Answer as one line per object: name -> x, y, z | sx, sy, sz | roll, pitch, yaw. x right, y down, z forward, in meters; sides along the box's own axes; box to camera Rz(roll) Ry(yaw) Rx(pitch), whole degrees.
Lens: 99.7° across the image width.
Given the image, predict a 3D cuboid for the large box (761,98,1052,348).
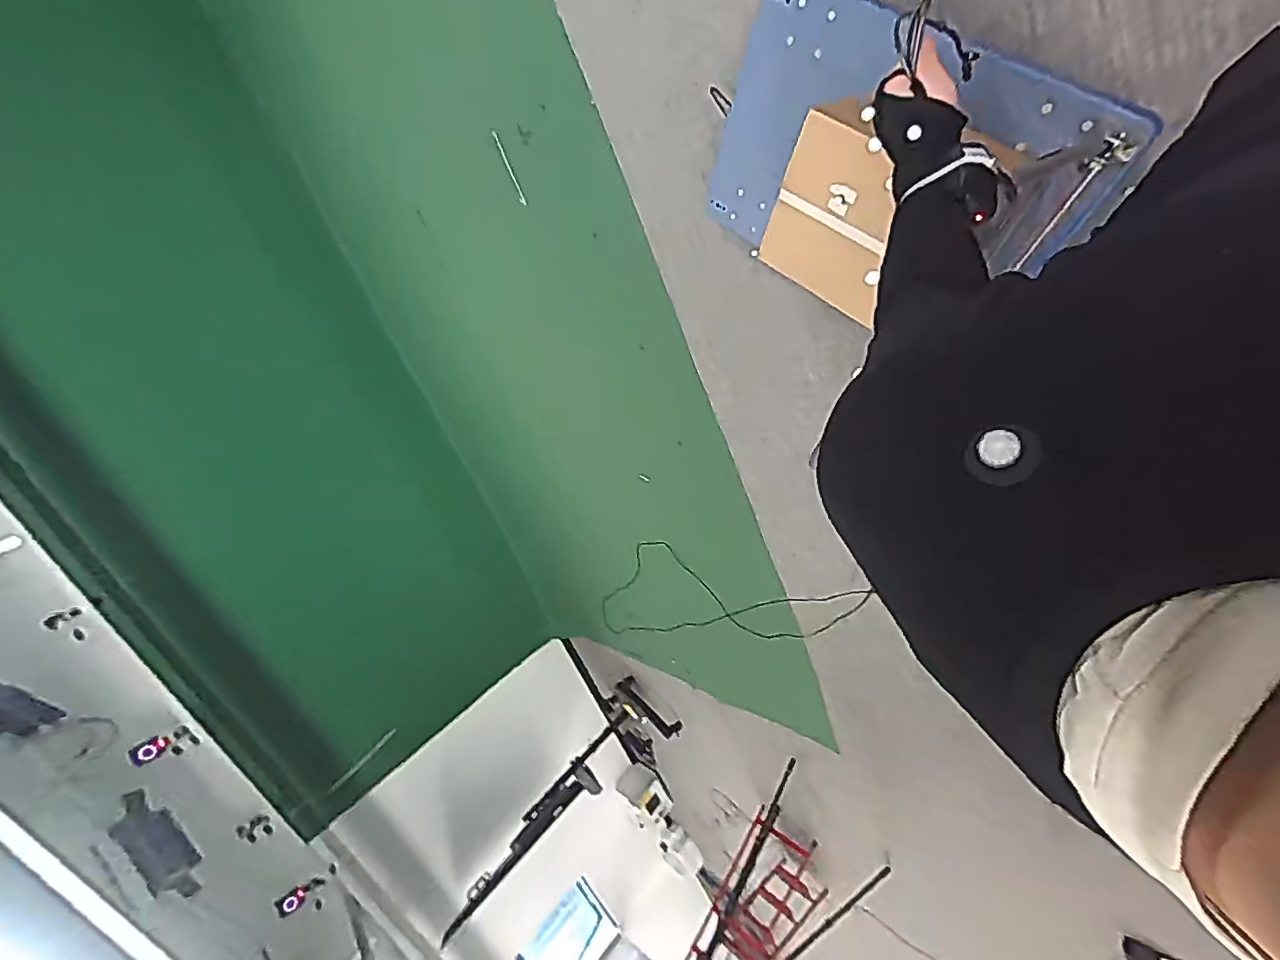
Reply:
large box -> 0.550, -0.560, 1.166 | 0.408, 0.320, 0.320 | 42, 145, 20
